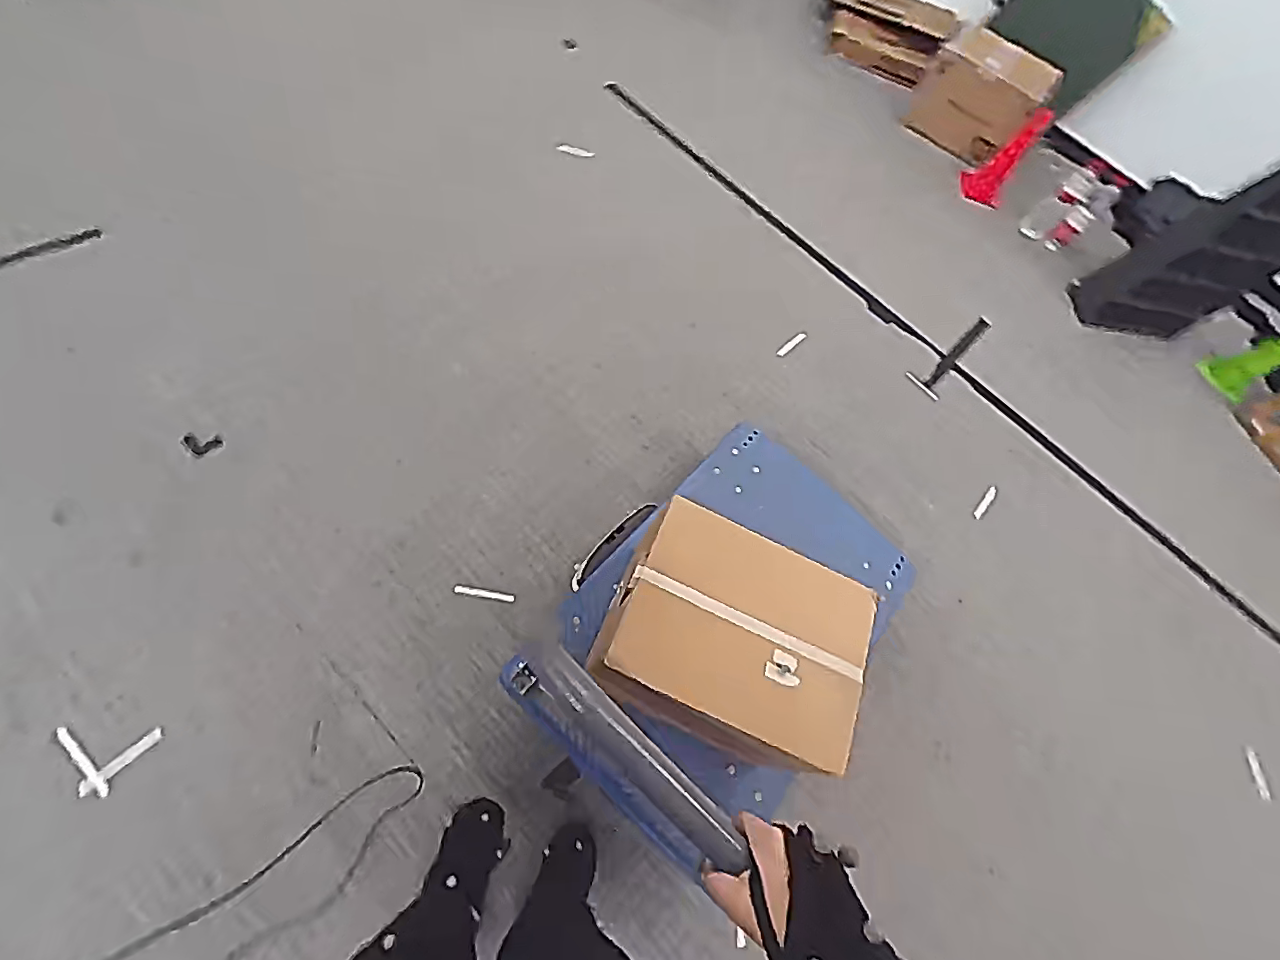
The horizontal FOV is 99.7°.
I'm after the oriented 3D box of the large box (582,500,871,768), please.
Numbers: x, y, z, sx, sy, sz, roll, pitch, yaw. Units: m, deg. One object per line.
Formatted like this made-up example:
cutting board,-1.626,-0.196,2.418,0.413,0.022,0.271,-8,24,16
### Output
large box,0.146,0.296,1.016,0.408,0.320,0.320,26,63,-2
